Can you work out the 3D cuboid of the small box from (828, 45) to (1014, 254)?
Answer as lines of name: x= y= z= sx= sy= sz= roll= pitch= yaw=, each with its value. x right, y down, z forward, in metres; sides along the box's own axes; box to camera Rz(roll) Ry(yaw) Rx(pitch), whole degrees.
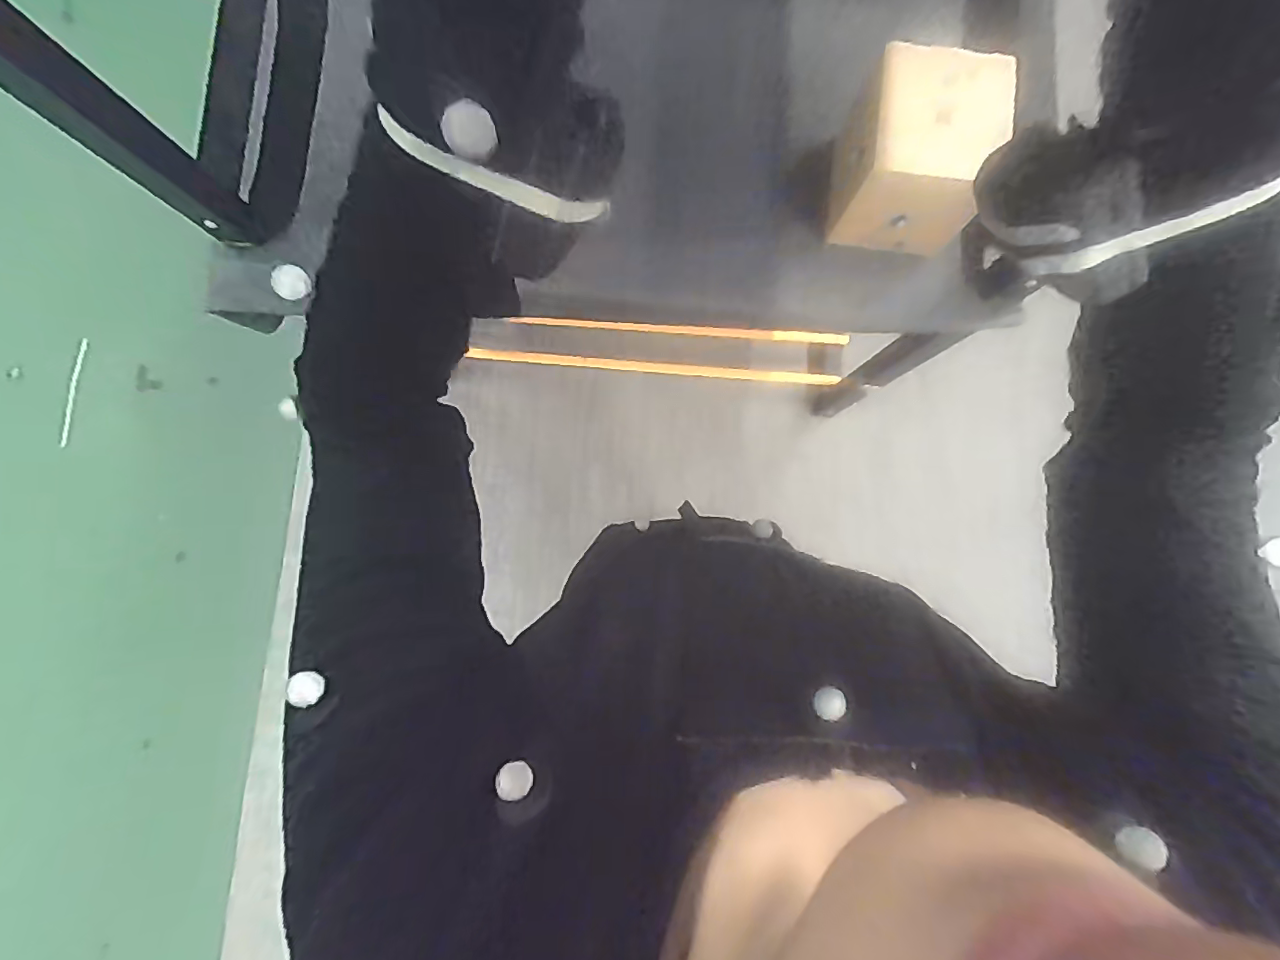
small box: x=0.371 y=-0.438 z=0.743 sx=0.168 sy=0.176 sz=0.179 roll=8 pitch=83 yaw=0
